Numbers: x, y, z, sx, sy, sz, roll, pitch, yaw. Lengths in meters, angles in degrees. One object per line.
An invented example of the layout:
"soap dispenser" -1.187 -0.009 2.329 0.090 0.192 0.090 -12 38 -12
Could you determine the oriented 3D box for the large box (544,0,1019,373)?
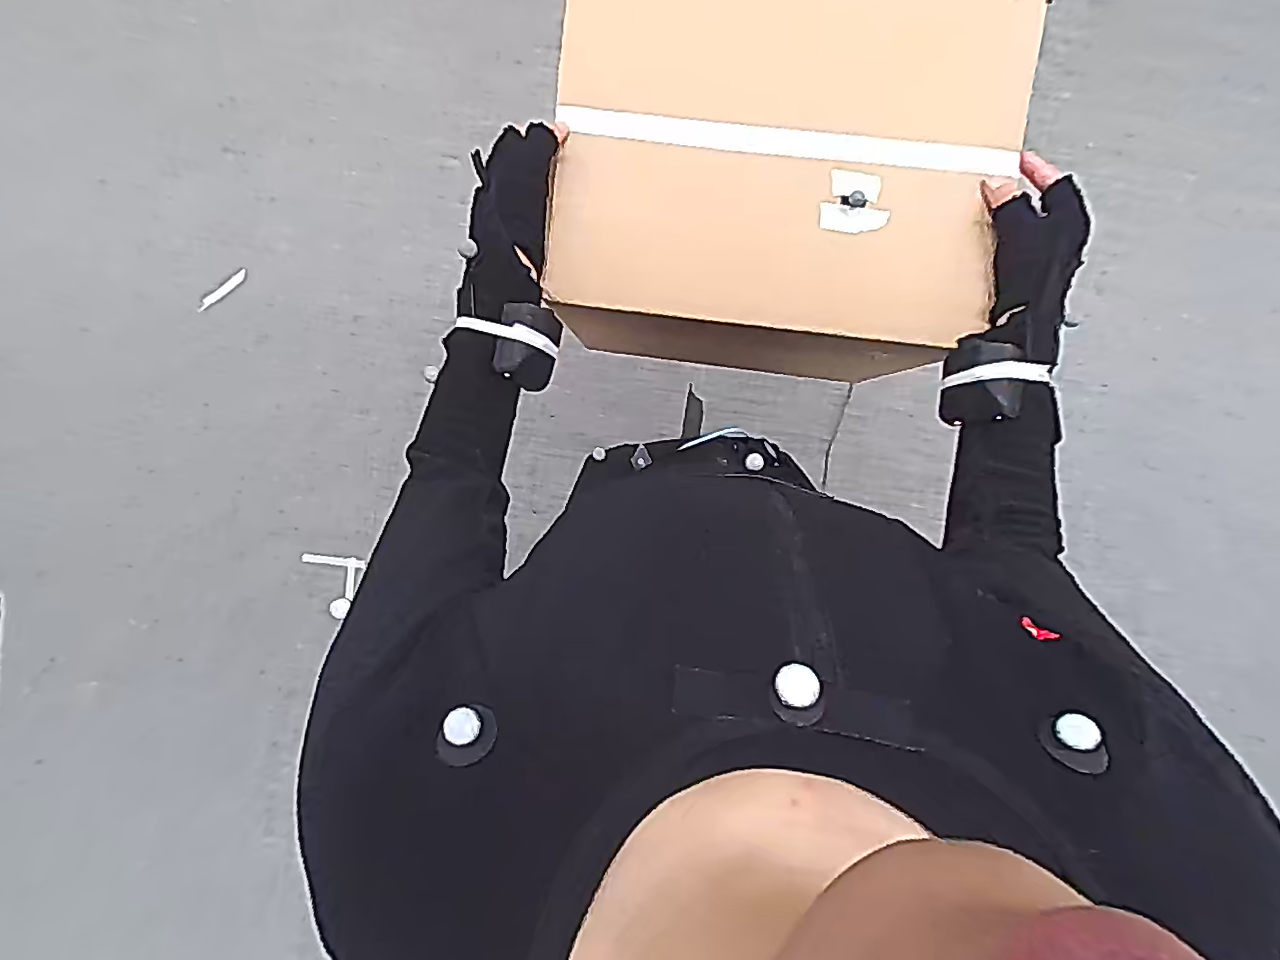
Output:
"large box" 0.123 -0.313 0.638 0.408 0.320 0.320 7 97 1
